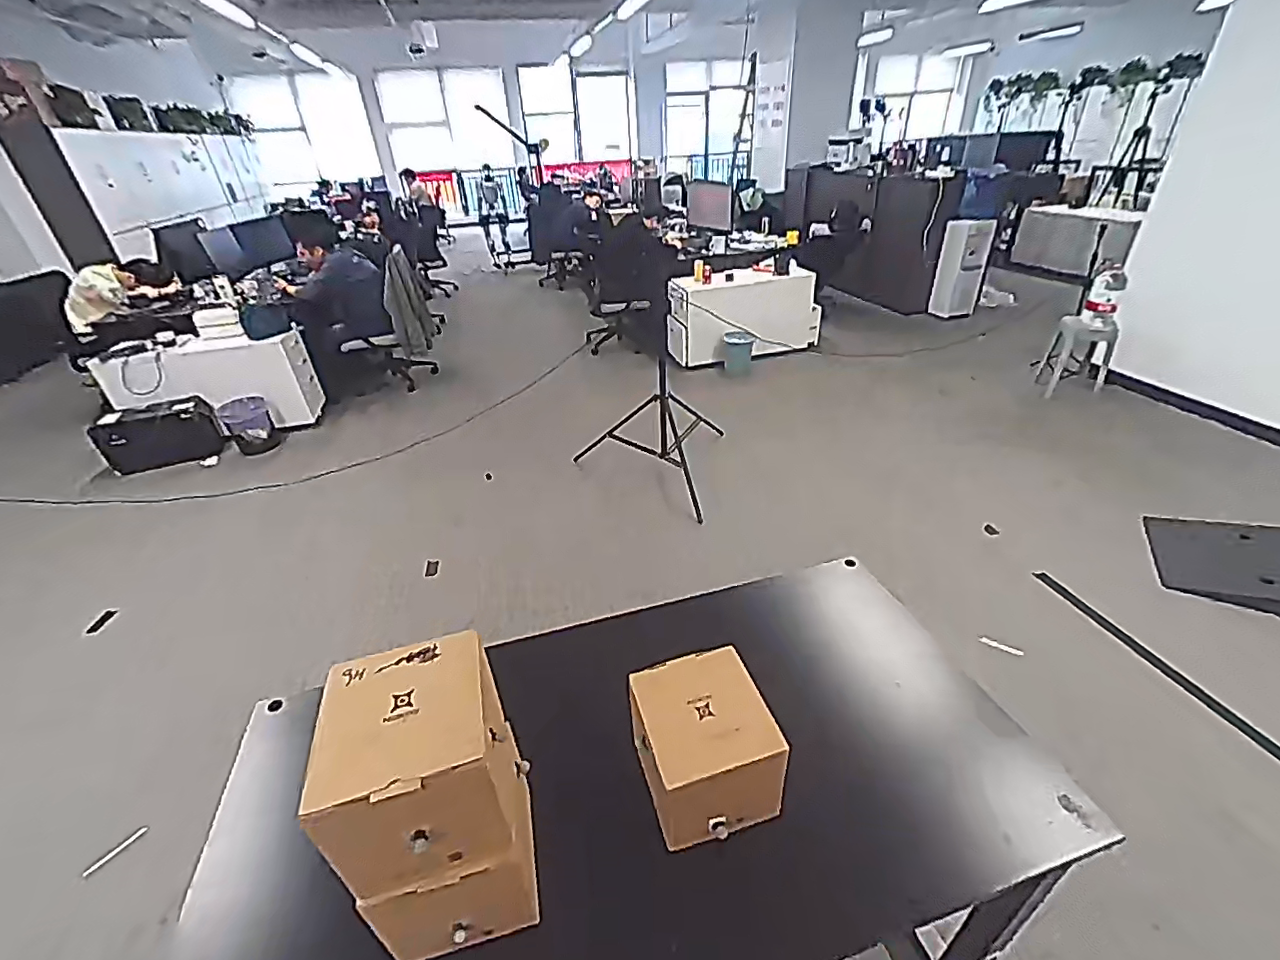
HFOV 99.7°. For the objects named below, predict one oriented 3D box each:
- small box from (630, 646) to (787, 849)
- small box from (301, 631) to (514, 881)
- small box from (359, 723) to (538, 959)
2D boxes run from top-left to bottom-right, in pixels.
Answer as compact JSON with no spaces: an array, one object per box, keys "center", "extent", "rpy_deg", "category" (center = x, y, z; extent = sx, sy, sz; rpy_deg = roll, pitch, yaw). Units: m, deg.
[{"center":[0.089,0.377,0.773],"extent":[0.168,0.176,0.179],"rpy_deg":[-13,34,-12],"category":"small box"},{"center":[-0.243,0.309,0.606],"extent":[0.168,0.176,0.179],"rpy_deg":[-12,34,-13],"category":"small box"},{"center":[-0.229,0.451,0.687],"extent":[0.168,0.176,0.179],"rpy_deg":[-11,33,-10],"category":"small box"}]
